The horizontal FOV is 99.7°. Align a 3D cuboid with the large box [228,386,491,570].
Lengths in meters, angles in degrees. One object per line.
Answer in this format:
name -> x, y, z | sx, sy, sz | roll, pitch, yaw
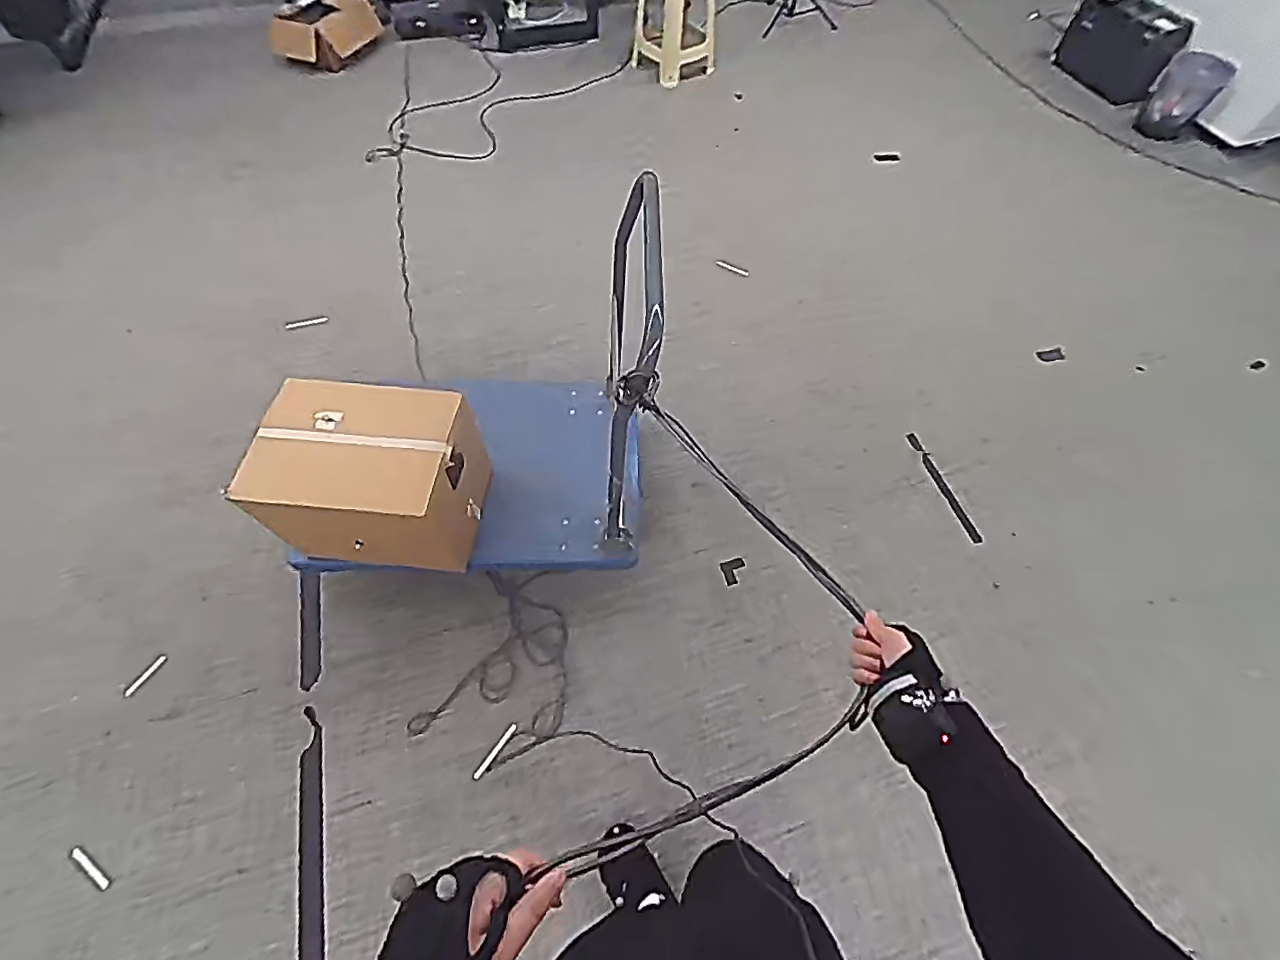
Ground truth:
large box -> -0.601, 0.006, 1.256 | 0.408, 0.320, 0.320 | 4, 59, 2
